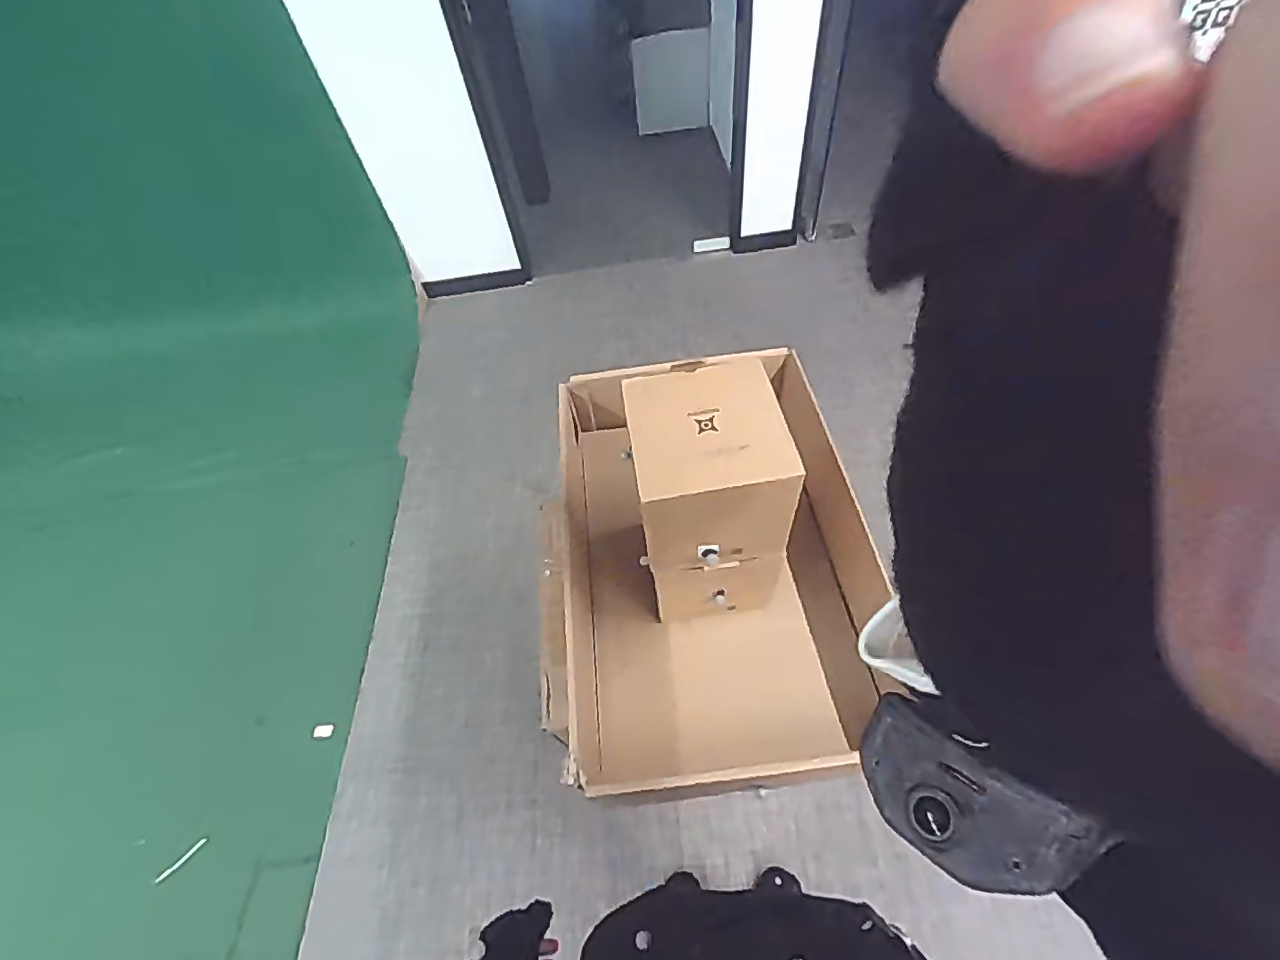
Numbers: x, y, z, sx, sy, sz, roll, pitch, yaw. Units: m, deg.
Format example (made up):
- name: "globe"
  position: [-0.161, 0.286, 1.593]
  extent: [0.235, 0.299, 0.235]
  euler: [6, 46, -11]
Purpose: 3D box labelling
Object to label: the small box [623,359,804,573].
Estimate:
- name: "small box"
  position: [0.077, -0.013, 0.641]
  extent: [0.168, 0.176, 0.179]
  euler: [-10, 55, 0]
